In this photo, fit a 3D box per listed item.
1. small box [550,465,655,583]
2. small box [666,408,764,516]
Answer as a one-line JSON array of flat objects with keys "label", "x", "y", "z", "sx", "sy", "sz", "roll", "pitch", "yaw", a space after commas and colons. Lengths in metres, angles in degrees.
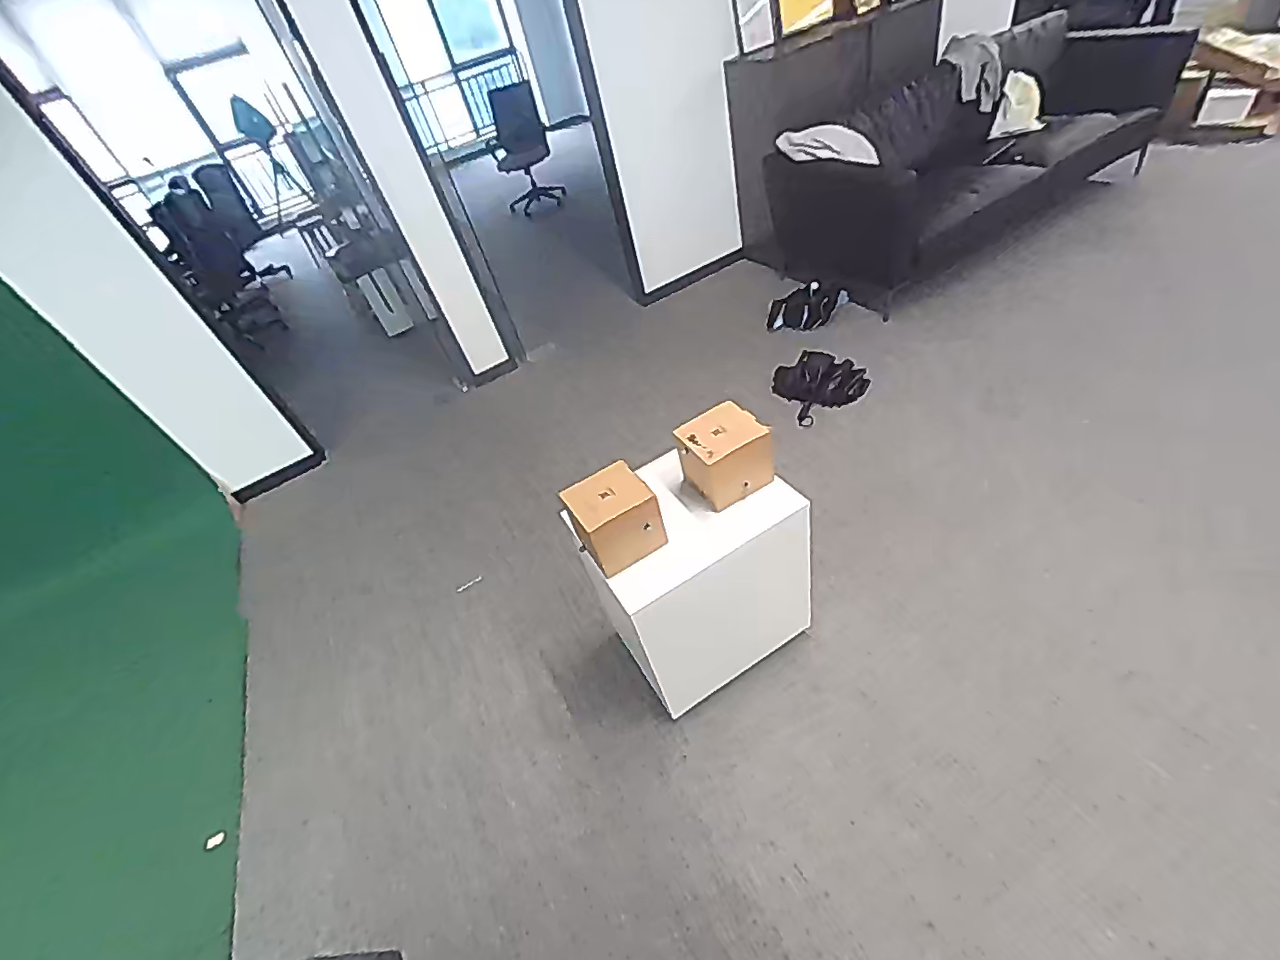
[{"label": "small box", "x": -0.078, "y": 0.101, "z": 1.249, "sx": 0.179, "sy": 0.176, "sz": 0.168, "roll": -30, "pitch": 43, "yaw": -18}, {"label": "small box", "x": 0.186, "y": -0.044, "z": 1.335, "sx": 0.179, "sy": 0.176, "sz": 0.168, "roll": -28, "pitch": 43, "yaw": -15}]
